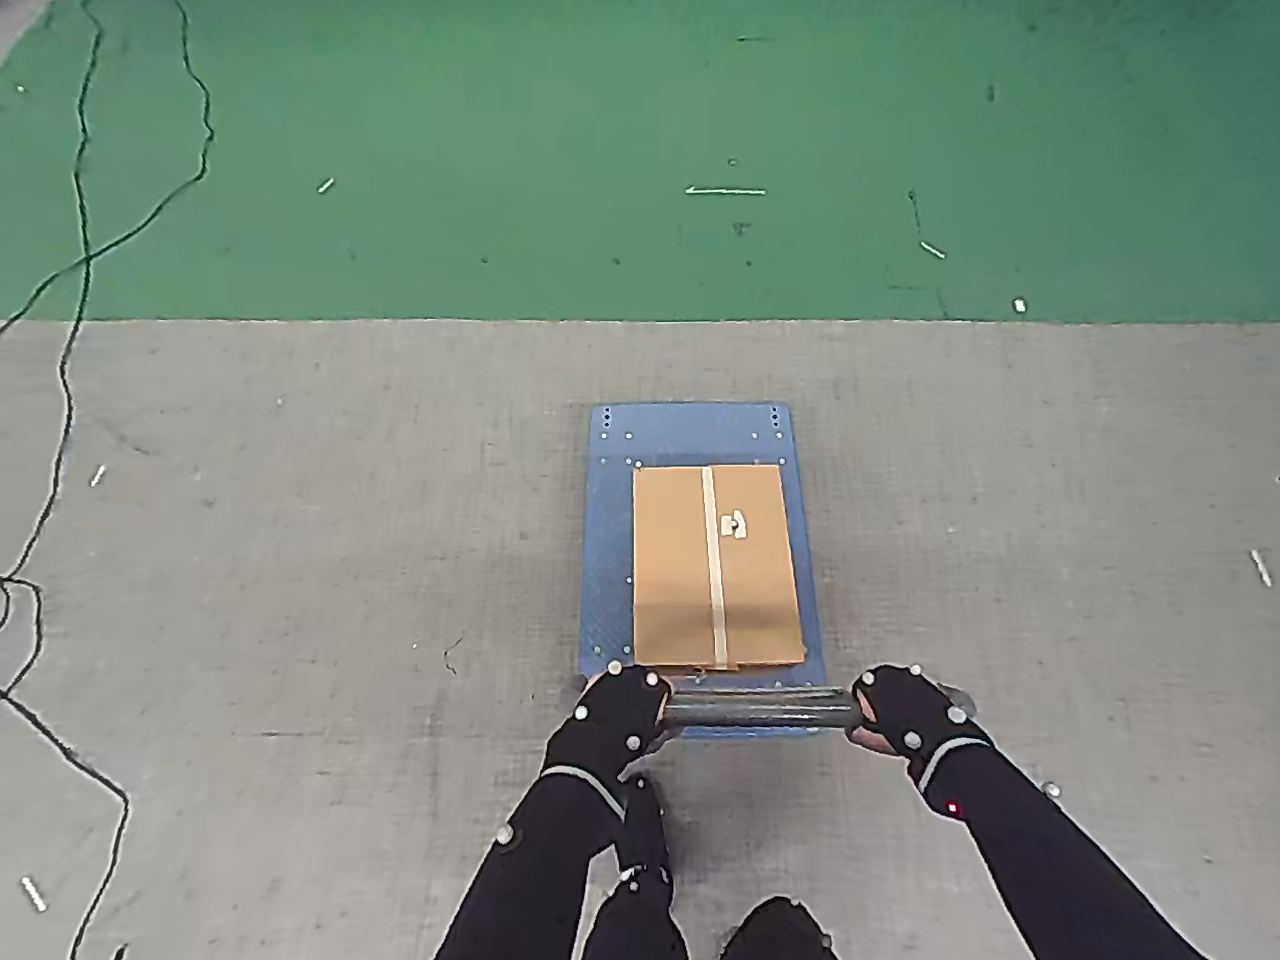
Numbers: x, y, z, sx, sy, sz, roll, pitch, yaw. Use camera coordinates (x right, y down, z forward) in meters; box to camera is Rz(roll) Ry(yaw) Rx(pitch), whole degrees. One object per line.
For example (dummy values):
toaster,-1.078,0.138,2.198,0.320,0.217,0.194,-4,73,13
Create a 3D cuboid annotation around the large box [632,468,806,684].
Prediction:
large box,0.147,0.224,1.203,0.320,0.320,0.408,-1,64,0
